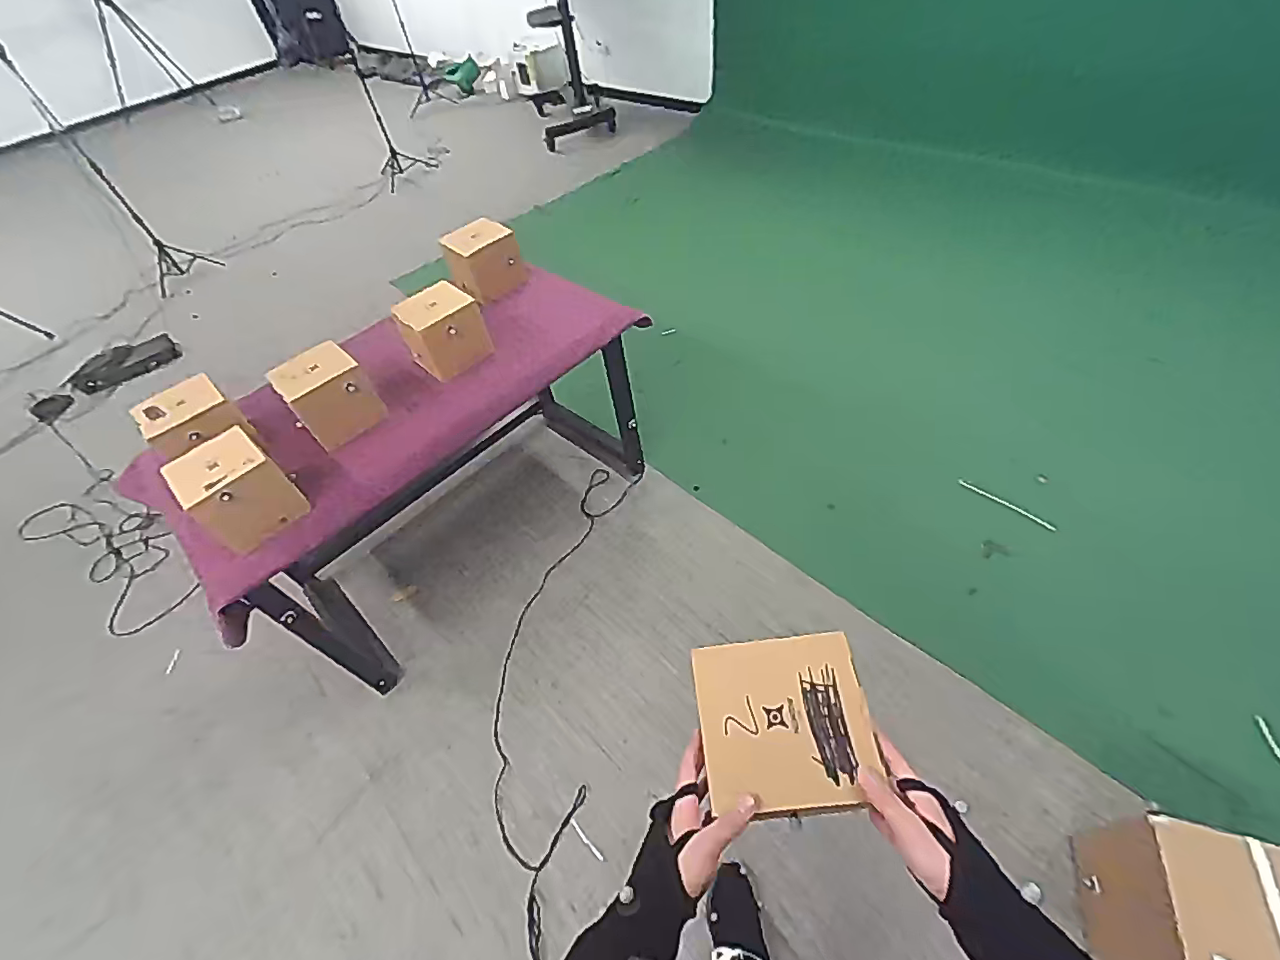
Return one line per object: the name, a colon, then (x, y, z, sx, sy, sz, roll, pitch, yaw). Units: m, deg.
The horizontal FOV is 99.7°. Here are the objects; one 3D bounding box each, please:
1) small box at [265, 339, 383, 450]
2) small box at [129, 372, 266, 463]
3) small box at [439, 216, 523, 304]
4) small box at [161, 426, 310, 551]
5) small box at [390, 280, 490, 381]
small box: (-0.764, -0.209, 1.330, 0.179, 0.176, 0.168, -40, 56, -22)
small box: (-1.060, -0.122, 1.303, 0.168, 0.176, 0.179, 35, 63, 30)
small box: (-0.482, -0.680, 1.672, 0.179, 0.176, 0.168, -40, 57, -21)
small box: (-0.855, 0.021, 1.154, 0.179, 0.176, 0.168, 32, 62, 31)
small box: (-0.527, -0.401, 1.455, 0.179, 0.176, 0.168, -40, 57, -21)
